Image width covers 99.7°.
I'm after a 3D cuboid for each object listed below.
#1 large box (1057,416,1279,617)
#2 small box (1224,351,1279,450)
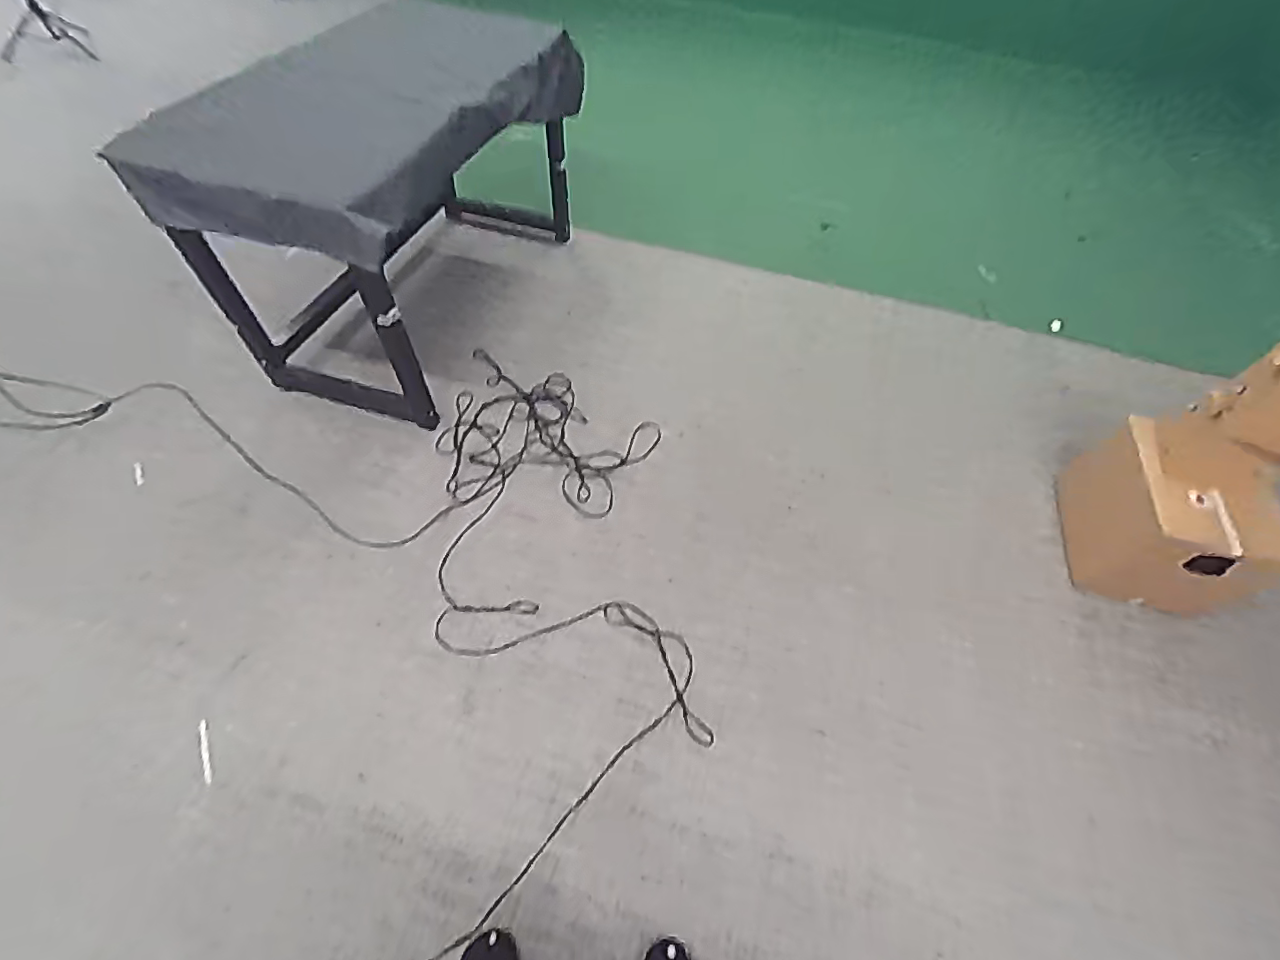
[{"bbox_3d":[1.421,0.100,1.472,0.320,0.320,0.408,14,57,8],"label":"large box"},{"bbox_3d":[1.436,-0.173,1.167,0.179,0.176,0.168,27,59,15],"label":"small box"}]
